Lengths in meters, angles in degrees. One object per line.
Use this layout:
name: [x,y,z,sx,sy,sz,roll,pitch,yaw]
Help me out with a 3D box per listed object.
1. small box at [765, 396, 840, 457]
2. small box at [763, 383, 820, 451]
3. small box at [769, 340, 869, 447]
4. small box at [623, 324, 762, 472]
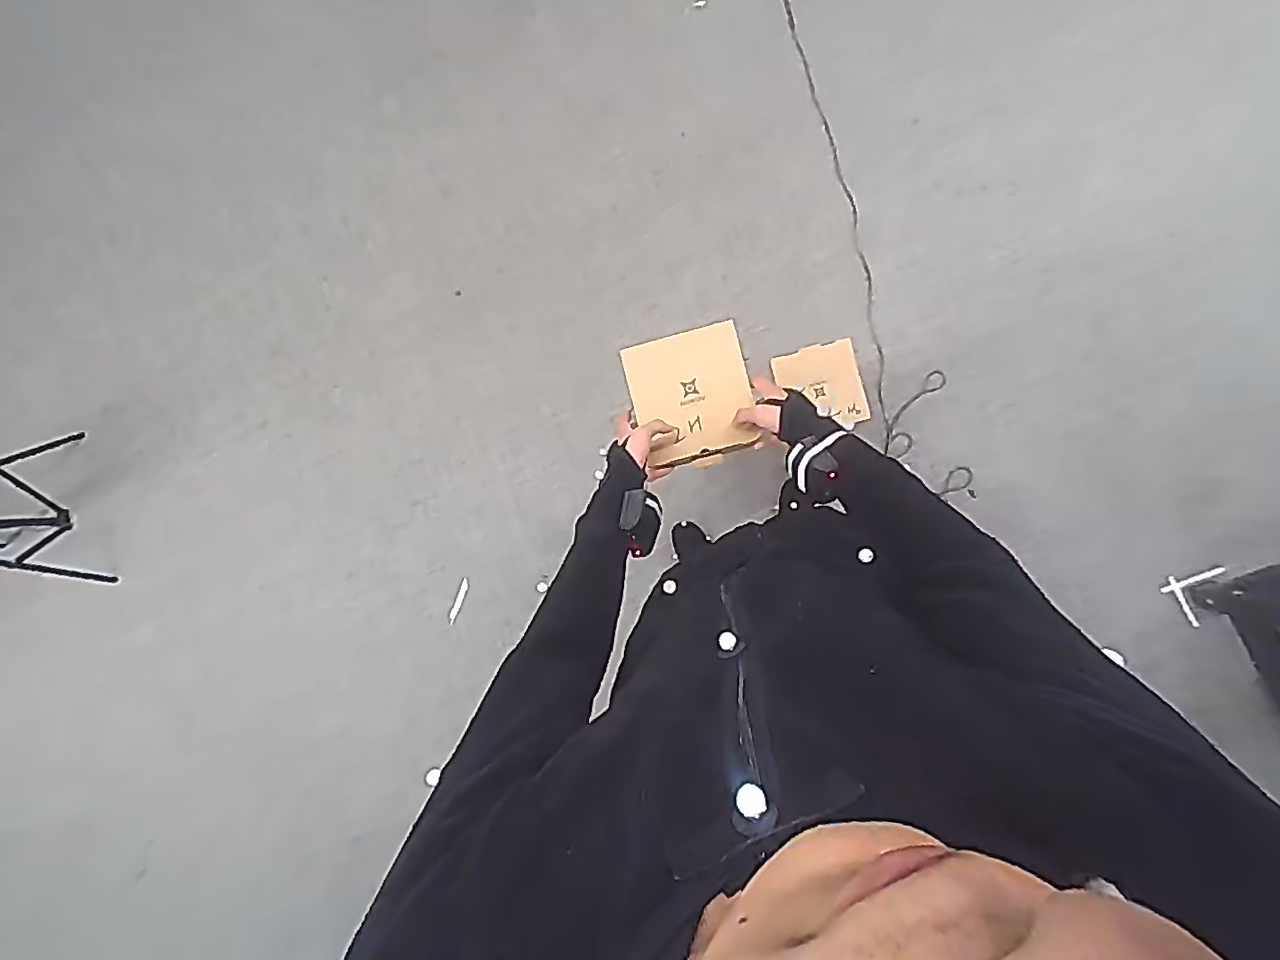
small box: [0.453,-0.175,1.507,0.168,0.176,0.179,-23,84,11]
small box: [0.420,-0.179,1.348,0.179,0.176,0.168,-21,84,11]
small box: [0.383,-0.182,1.188,0.168,0.176,0.179,-14,84,12]
small box: [0.078,-0.115,0.836,0.168,0.176,0.179,-14,88,5]
